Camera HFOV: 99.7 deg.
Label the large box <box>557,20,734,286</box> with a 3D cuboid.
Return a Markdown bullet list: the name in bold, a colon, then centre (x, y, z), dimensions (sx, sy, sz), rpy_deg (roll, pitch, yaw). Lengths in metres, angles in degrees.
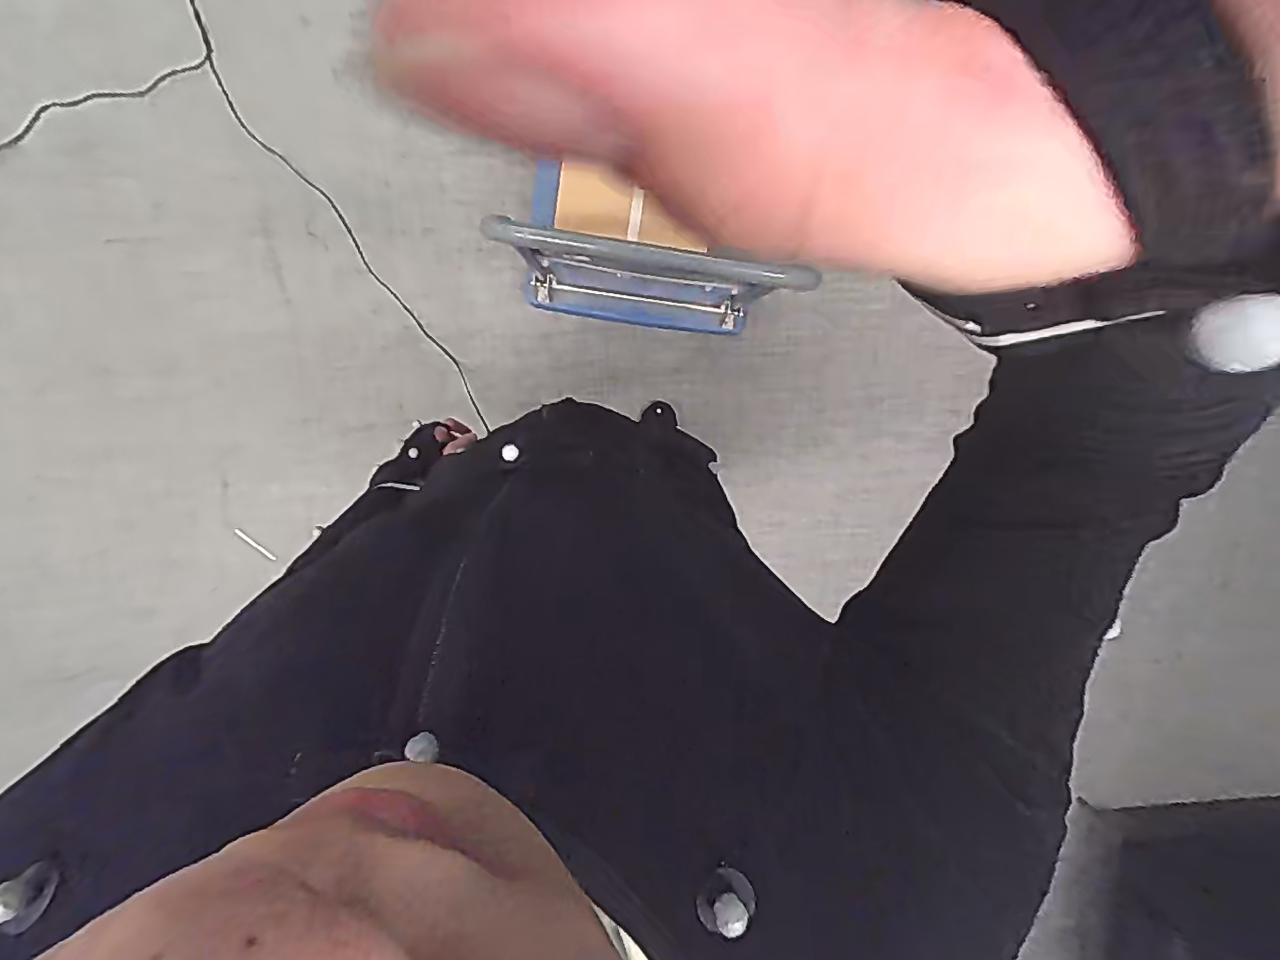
- **large box**: centre (0.005, -0.694, 1.222), dimensions (0.320, 0.320, 0.408), rpy_deg (8, 96, -4)
